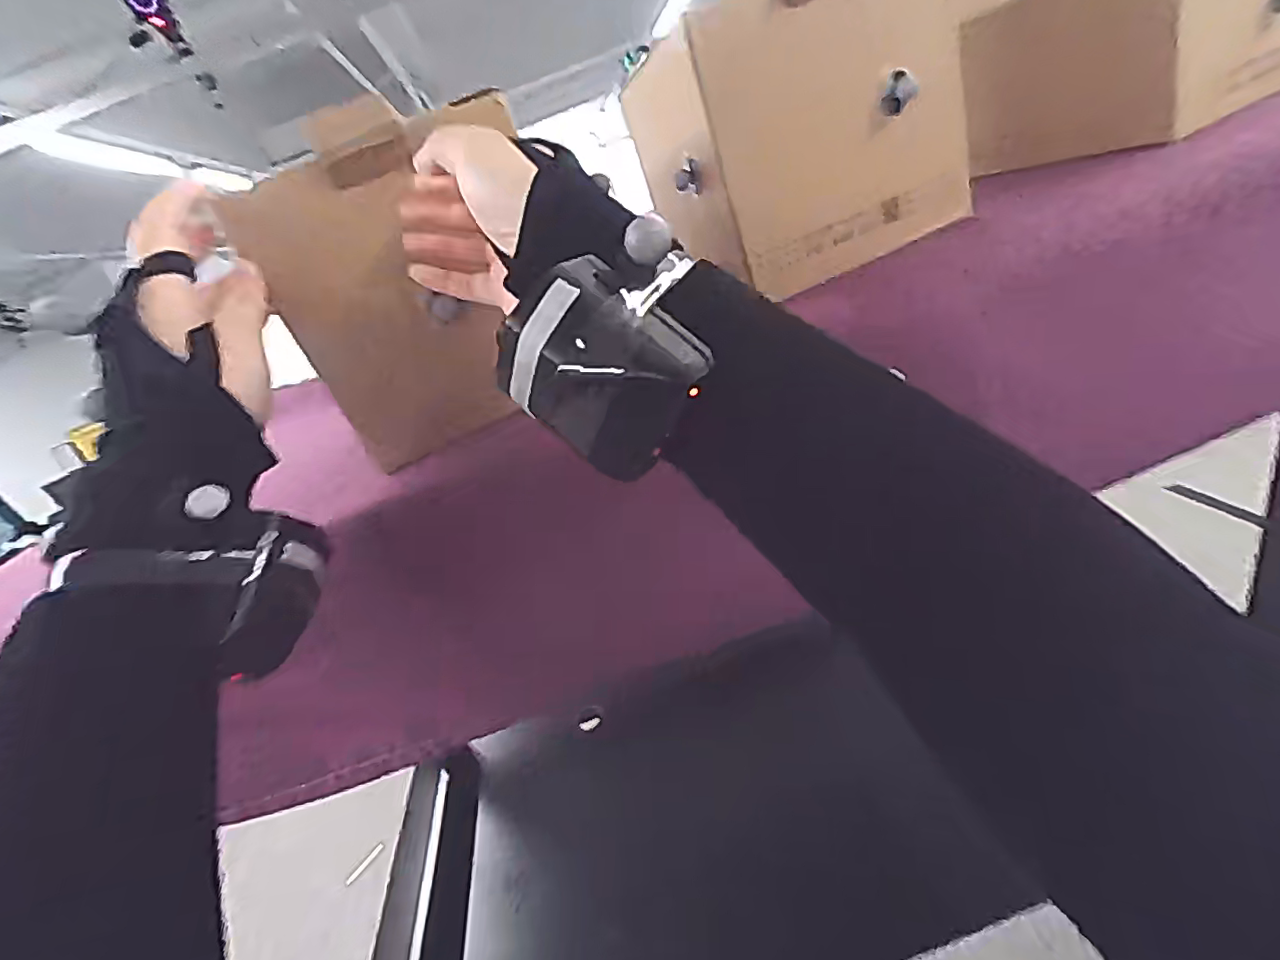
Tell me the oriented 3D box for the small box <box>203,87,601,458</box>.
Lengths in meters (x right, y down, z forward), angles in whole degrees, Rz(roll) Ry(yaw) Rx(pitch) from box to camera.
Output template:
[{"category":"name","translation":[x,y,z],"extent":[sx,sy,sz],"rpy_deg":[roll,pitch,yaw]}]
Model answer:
[{"category":"small box","translation":[-0.147,-0.135,0.387],"extent":[0.168,0.176,0.179],"rpy_deg":[-28,27,-11]}]

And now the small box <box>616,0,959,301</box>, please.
[{"category":"small box","translation":[0.102,-0.244,0.399],"extent":[0.168,0.176,0.179],"rpy_deg":[-24,25,-5]}]

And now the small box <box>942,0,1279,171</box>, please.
[{"category":"small box","translation":[0.346,-0.346,0.388],"extent":[0.168,0.176,0.179],"rpy_deg":[-27,25,-6]}]
